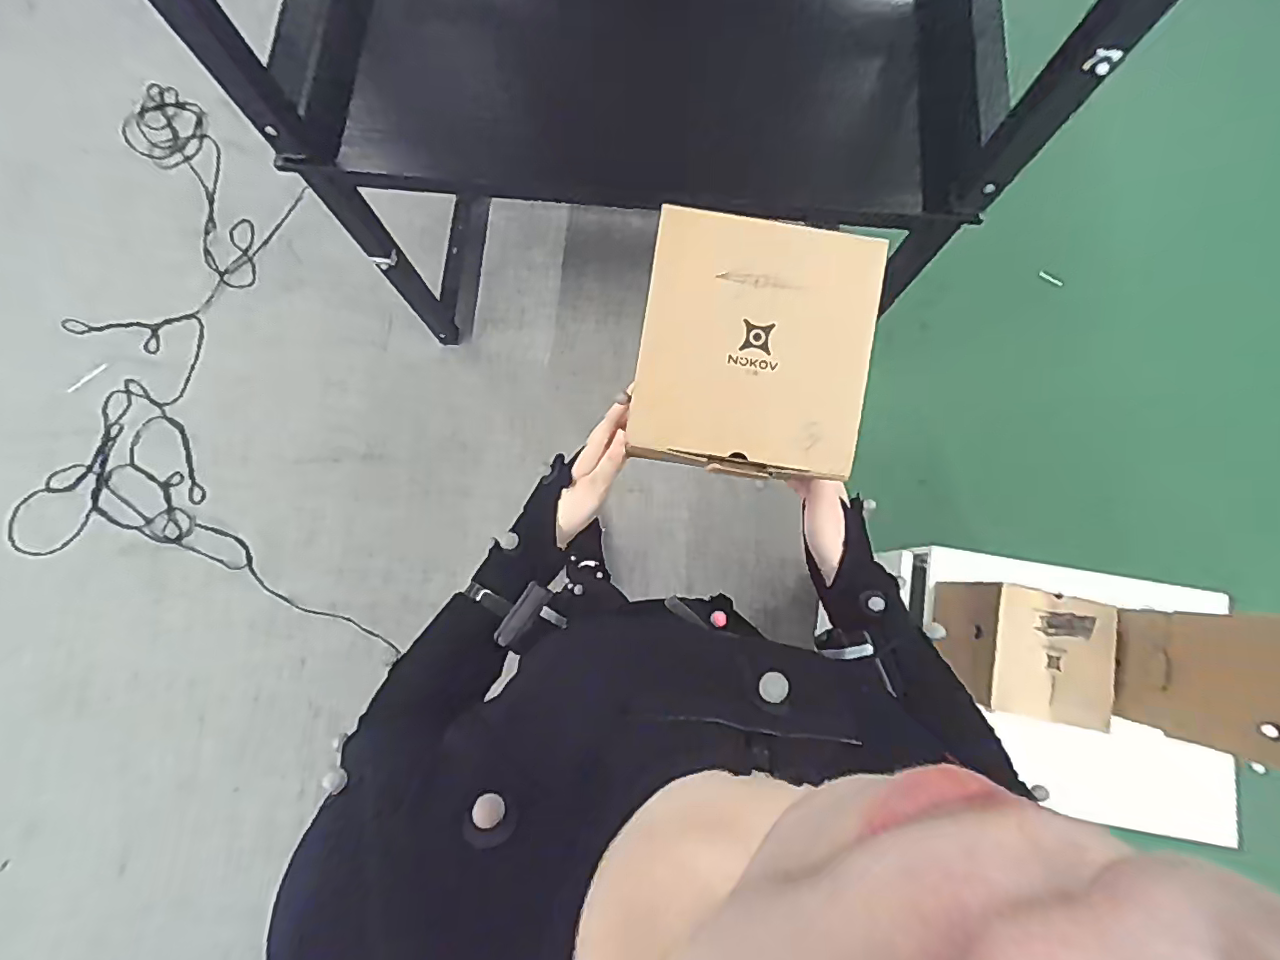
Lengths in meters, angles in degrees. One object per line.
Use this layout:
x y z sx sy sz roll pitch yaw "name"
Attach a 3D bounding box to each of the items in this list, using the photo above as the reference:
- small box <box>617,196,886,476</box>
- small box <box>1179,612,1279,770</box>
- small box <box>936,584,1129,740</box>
0.077 -0.100 0.452 0.168 0.176 0.179 8 90 -1 "small box"
0.801 0.262 0.641 0.168 0.176 0.179 13 81 3 "small box"
0.571 0.257 0.807 0.168 0.176 0.179 12 80 2 "small box"
